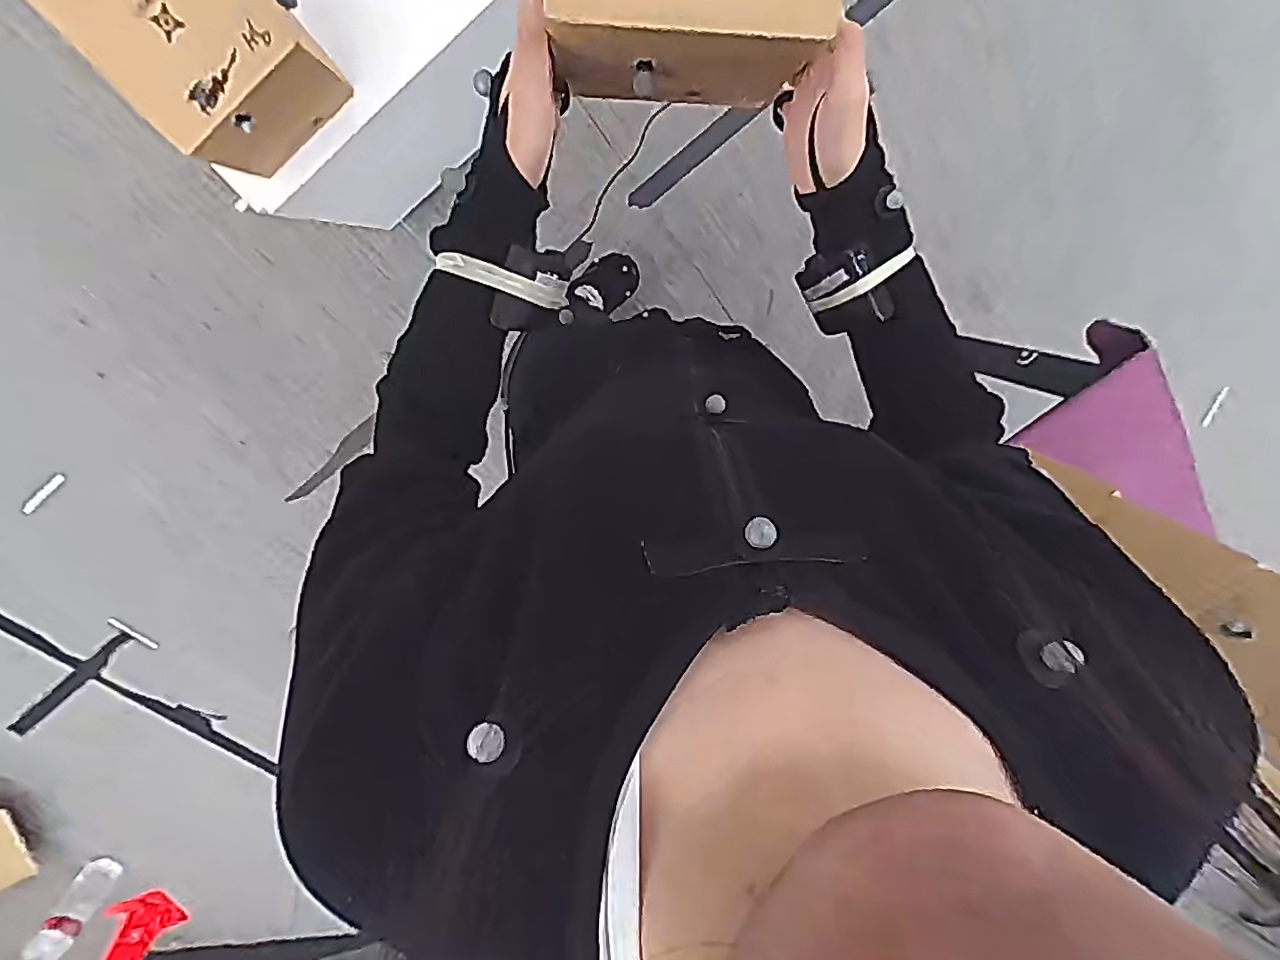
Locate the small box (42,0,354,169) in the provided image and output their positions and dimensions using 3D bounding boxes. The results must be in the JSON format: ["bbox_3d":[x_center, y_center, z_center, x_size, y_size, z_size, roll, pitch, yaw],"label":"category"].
[{"bbox_3d":[-0.451,-0.467,0.573,0.168,0.176,0.179,-38,112,8],"label":"small box"}]

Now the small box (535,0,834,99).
[{"bbox_3d":[0.026,-0.360,0.335,0.168,0.176,0.179,1,113,-3],"label":"small box"}]
